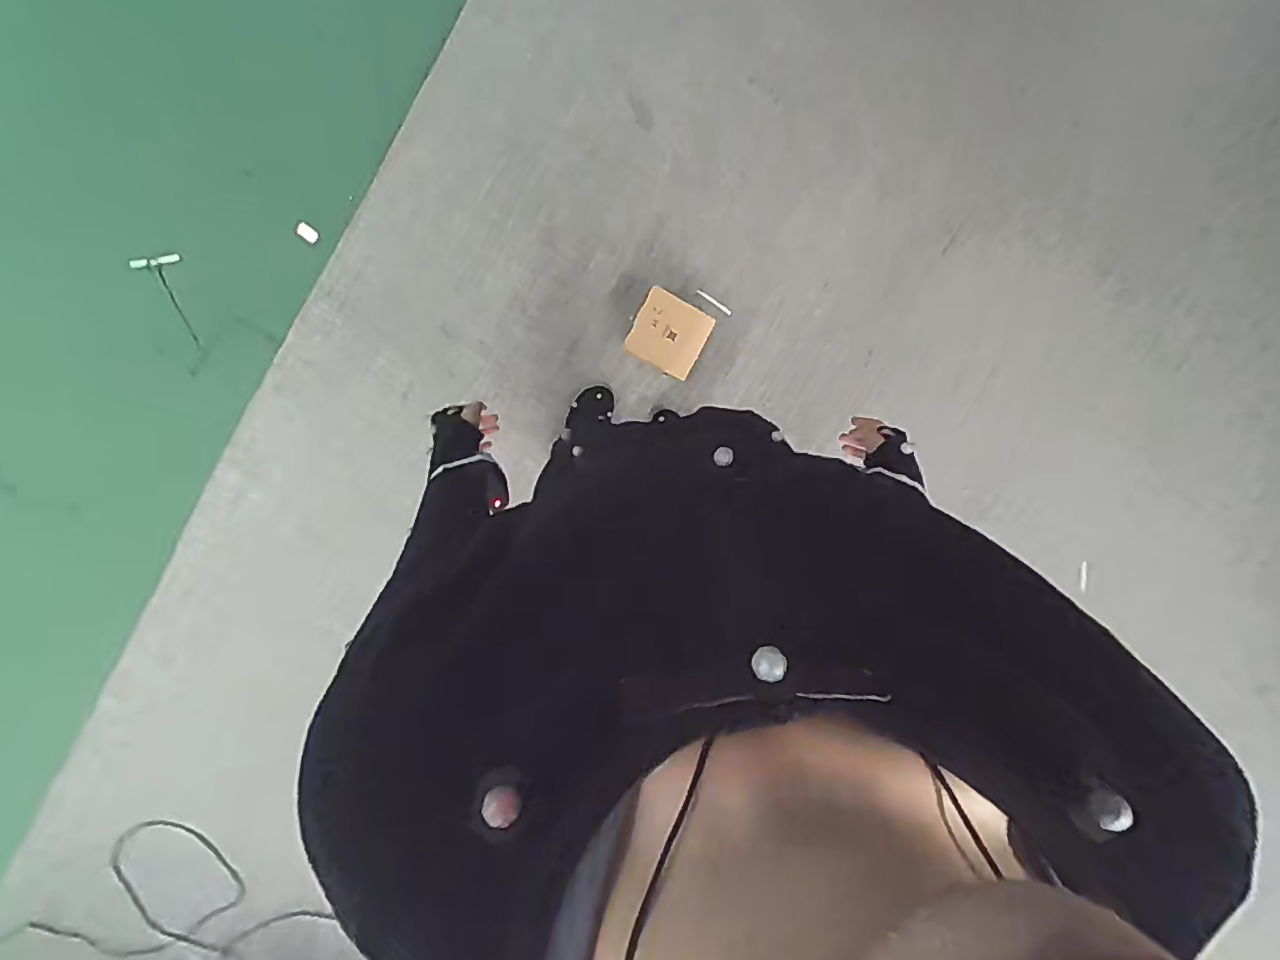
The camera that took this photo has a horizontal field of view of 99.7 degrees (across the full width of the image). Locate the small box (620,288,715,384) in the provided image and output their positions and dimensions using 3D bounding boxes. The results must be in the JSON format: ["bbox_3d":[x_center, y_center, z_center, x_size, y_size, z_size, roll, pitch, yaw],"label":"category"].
[{"bbox_3d":[0.063,-0.357,1.369,0.179,0.176,0.168,28,97,-7],"label":"small box"}]
